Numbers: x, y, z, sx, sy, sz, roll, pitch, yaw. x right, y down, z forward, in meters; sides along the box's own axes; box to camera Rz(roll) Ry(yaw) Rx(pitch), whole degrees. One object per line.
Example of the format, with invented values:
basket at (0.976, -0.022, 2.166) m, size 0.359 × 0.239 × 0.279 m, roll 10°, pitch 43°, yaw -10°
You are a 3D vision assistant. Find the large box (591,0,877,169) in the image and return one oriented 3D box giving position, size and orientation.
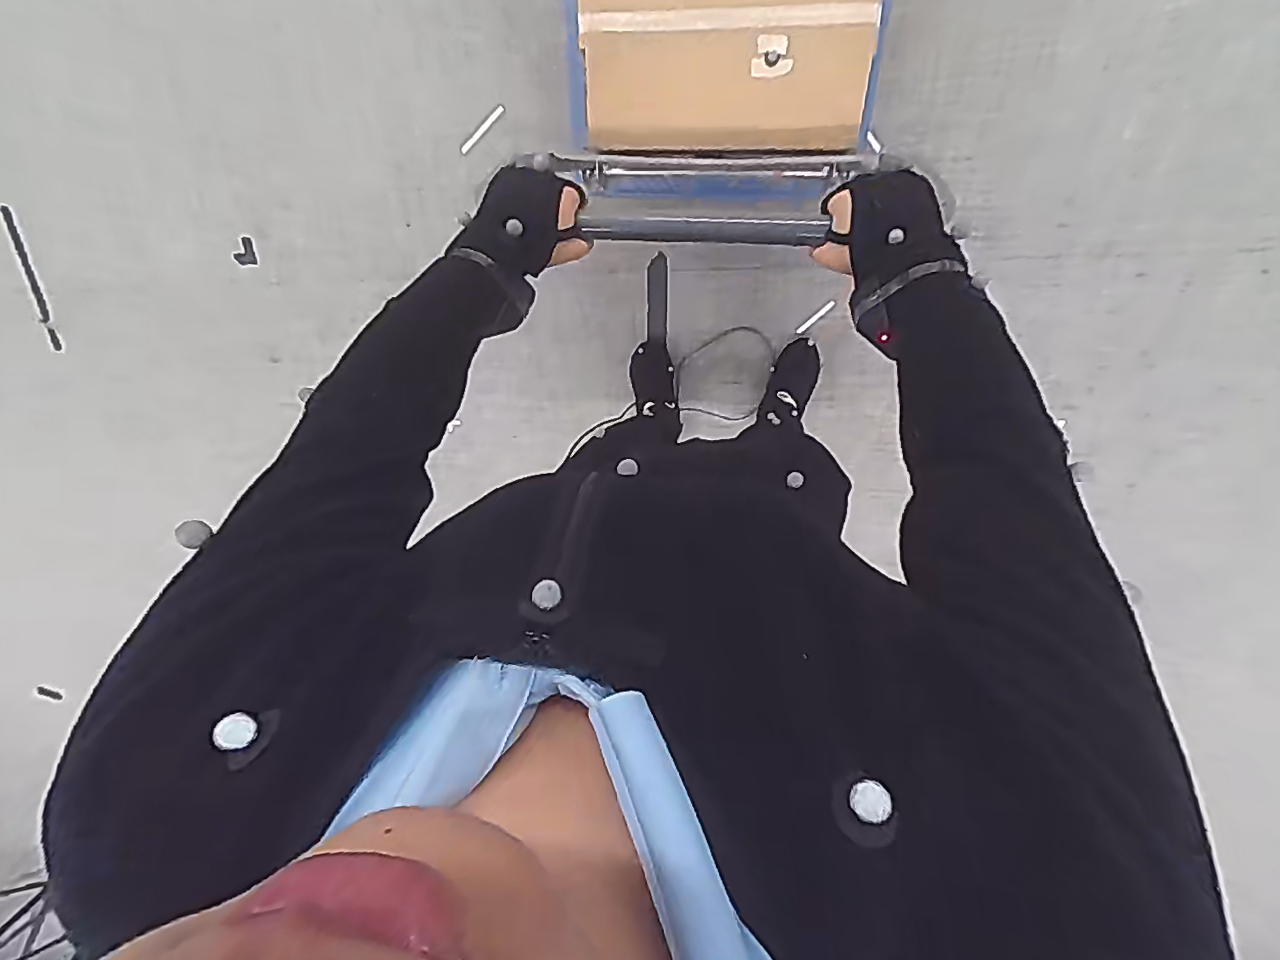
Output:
large box at (0.143, -0.709, 0.898) m, size 0.408 × 0.320 × 0.320 m, roll 3°, pitch 118°, yaw 6°
